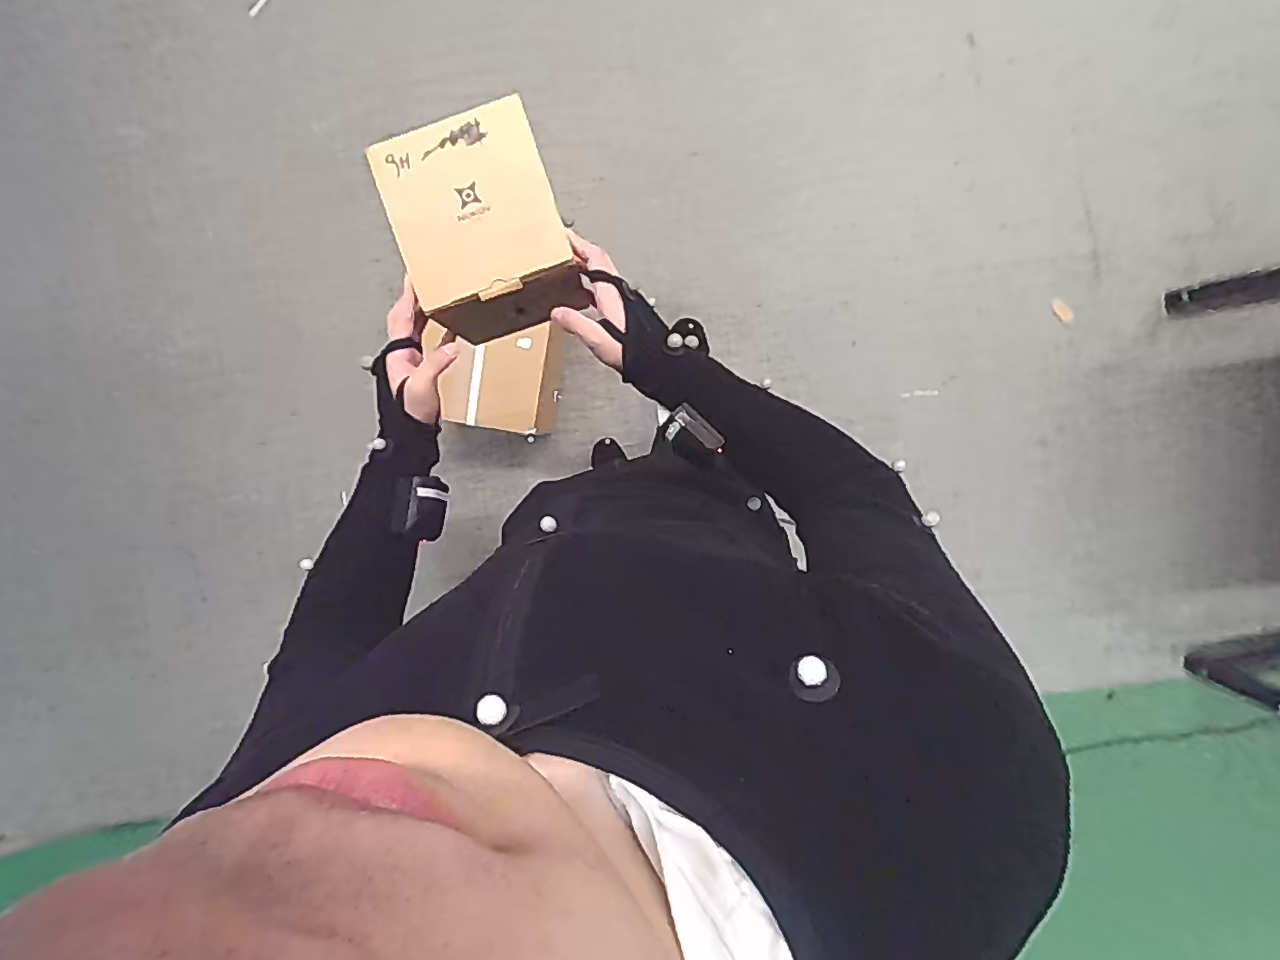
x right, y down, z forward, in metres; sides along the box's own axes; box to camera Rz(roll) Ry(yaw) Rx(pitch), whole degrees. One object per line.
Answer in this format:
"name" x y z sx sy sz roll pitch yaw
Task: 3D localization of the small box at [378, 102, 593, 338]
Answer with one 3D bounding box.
"small box" -0.159 -0.275 0.622 0.168 0.176 0.179 -18 93 1
